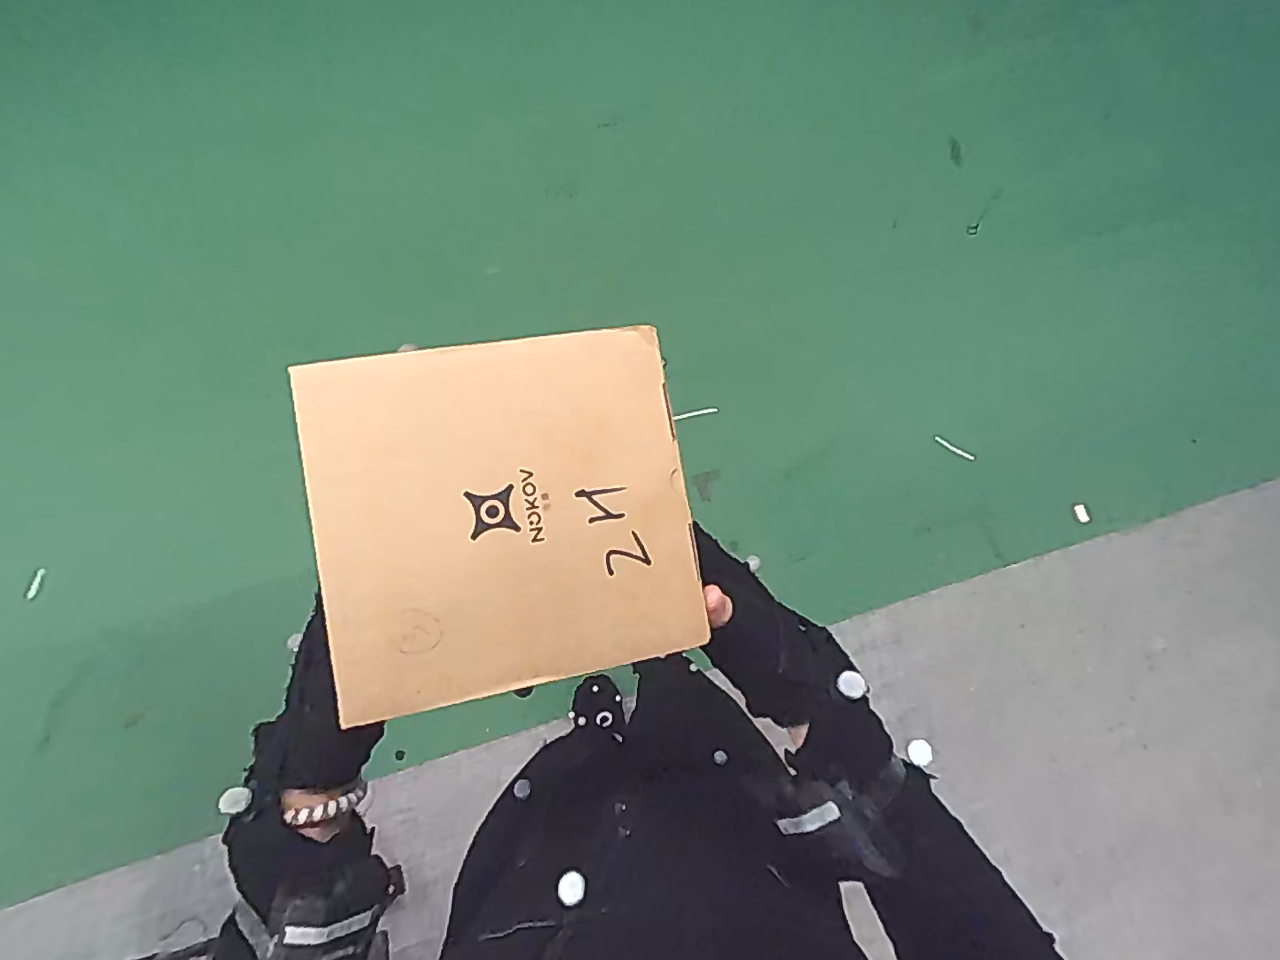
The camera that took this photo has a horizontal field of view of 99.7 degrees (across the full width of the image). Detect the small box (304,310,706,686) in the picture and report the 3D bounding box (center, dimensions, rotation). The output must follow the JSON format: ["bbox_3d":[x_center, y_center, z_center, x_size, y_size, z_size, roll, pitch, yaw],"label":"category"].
[{"bbox_3d":[-0.075,0.010,0.343,0.179,0.176,0.168,-9,87,-11],"label":"small box"}]
